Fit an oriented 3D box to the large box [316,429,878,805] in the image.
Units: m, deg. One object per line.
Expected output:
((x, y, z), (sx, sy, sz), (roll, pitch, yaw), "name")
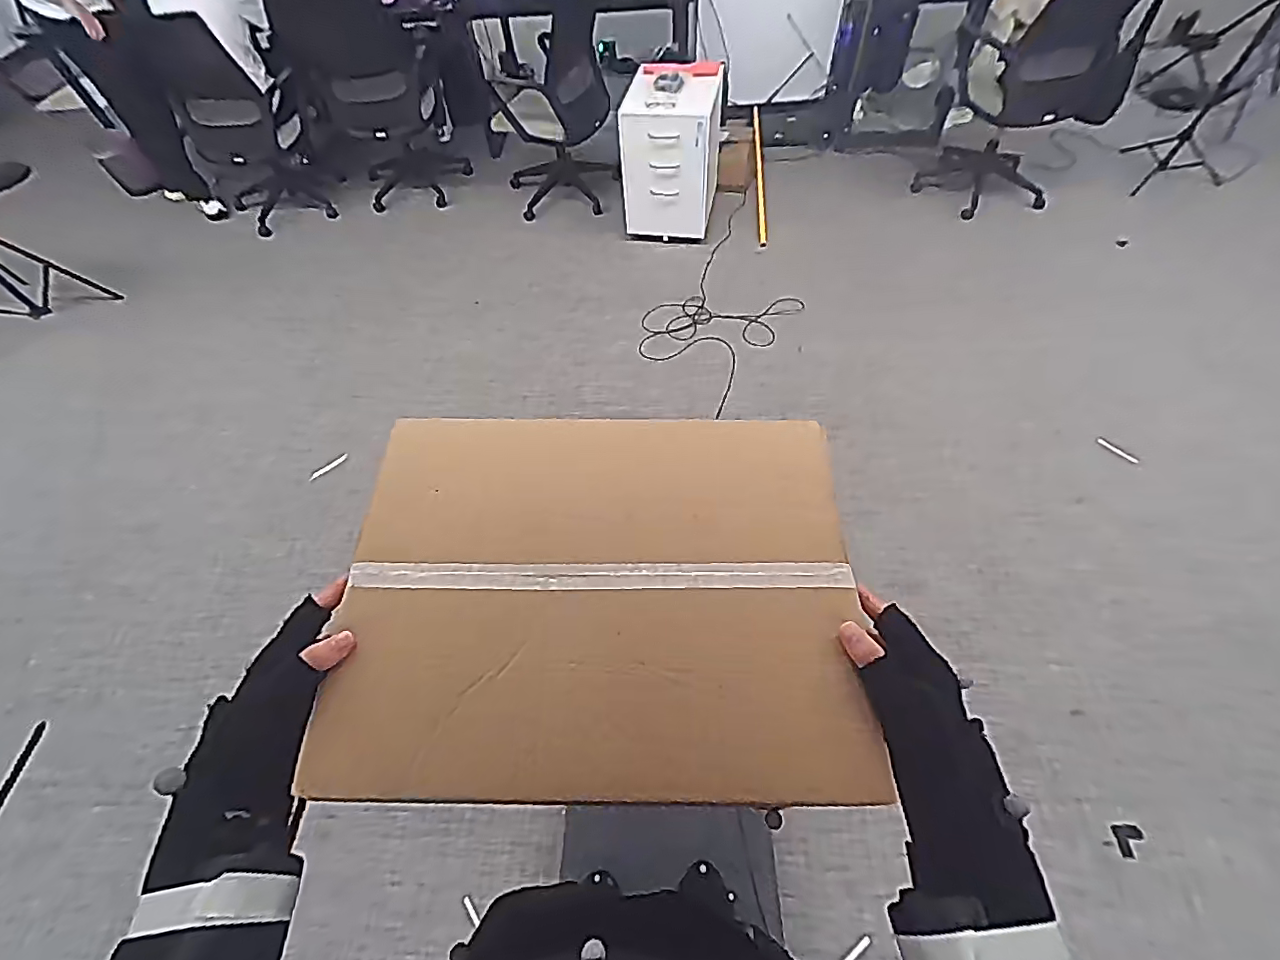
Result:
((-0.028, 0.159, 0.579), (0.408, 0.320, 0.320), (0, 60, 1), "large box")
